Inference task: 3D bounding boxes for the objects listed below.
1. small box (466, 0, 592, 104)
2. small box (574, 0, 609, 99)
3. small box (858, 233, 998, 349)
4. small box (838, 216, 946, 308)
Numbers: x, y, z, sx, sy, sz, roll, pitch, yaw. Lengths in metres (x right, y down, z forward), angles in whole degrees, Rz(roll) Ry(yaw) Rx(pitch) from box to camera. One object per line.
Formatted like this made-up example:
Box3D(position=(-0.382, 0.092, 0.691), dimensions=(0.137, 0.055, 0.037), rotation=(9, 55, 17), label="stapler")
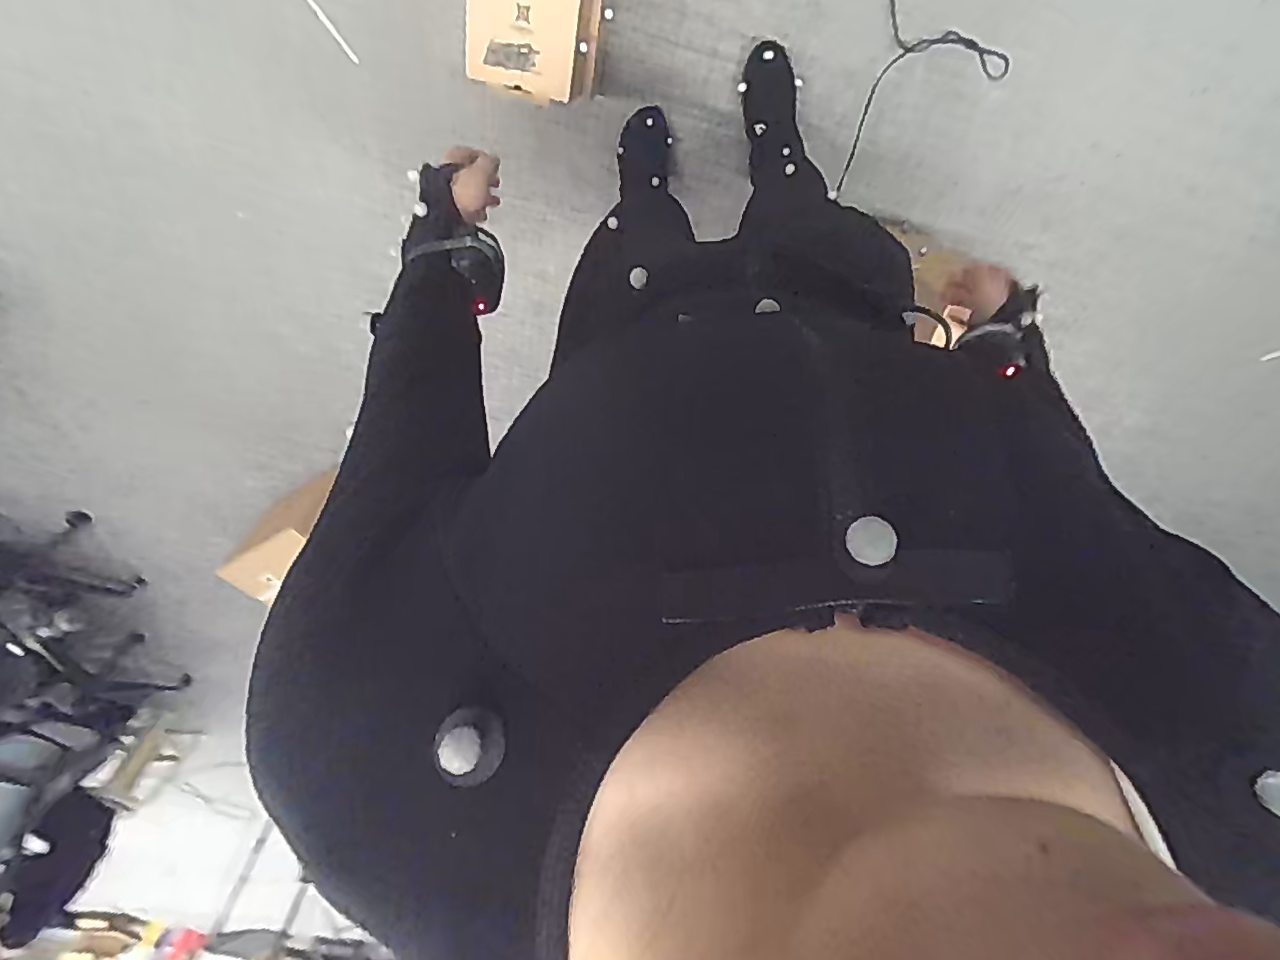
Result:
Box3D(position=(-0.172, -0.733, 0.865), dimensions=(0.168, 0.176, 0.179), rotation=(10, 129, -6), label="small box")
Box3D(position=(-0.151, -0.832, 0.995), dimensions=(0.168, 0.176, 0.179), rotation=(10, 130, -5), label="small box")
Box3D(position=(0.583, -0.397, 1.126), dimensions=(0.179, 0.176, 0.168), rotation=(7, 132, -5), label="small box")
Box3D(position=(0.587, -0.496, 1.256), dimensions=(0.179, 0.176, 0.168), rotation=(10, 131, -5), label="small box")
